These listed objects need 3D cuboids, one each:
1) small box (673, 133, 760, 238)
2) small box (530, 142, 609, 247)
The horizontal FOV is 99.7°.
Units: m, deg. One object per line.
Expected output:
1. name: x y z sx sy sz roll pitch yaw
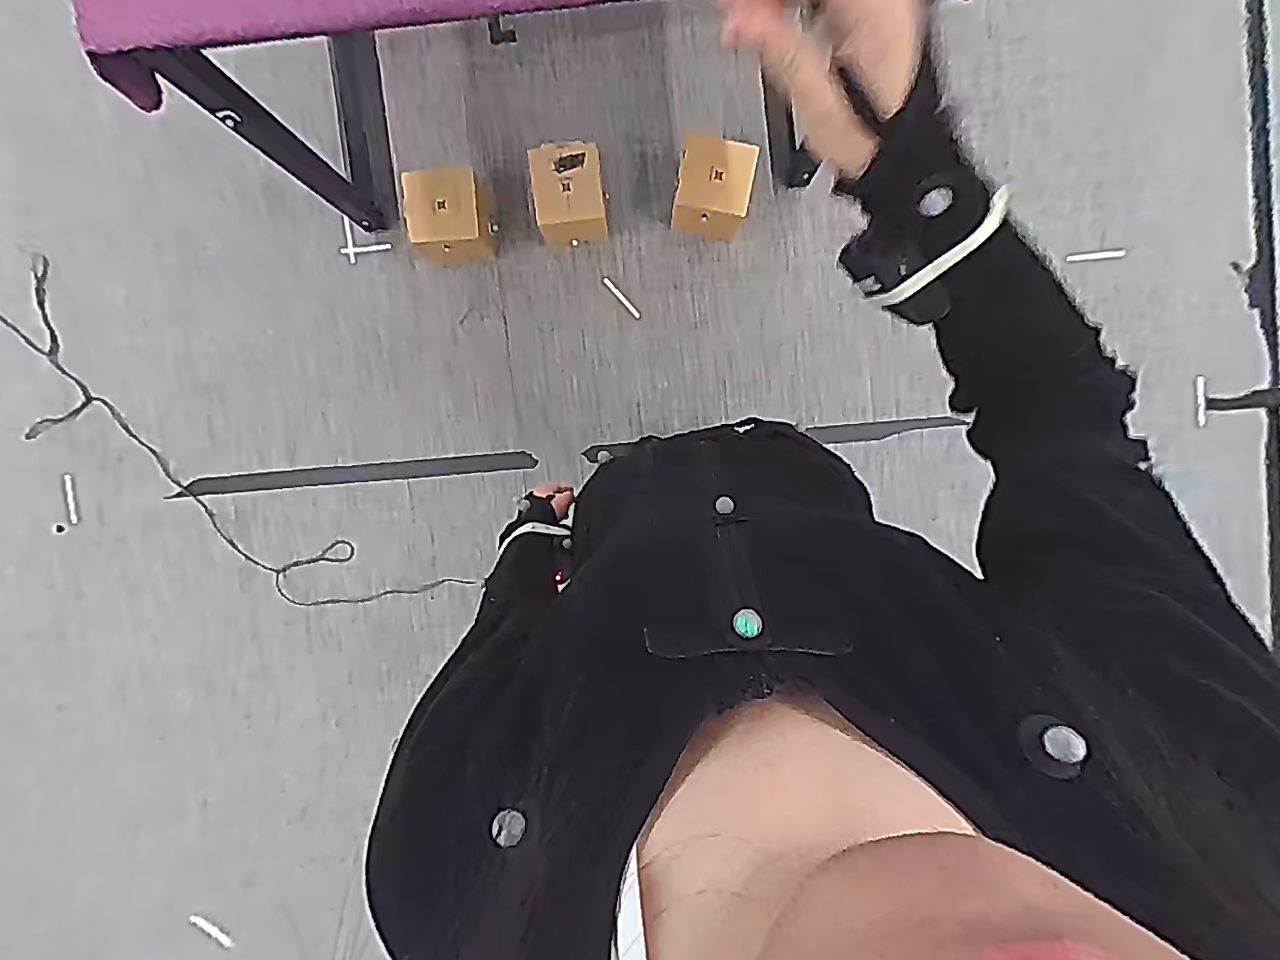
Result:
1. small box: 0.185 -0.729 1.358 0.179 0.176 0.168 12 95 1
2. small box: -0.171 -0.710 1.361 0.168 0.176 0.179 -6 95 1
